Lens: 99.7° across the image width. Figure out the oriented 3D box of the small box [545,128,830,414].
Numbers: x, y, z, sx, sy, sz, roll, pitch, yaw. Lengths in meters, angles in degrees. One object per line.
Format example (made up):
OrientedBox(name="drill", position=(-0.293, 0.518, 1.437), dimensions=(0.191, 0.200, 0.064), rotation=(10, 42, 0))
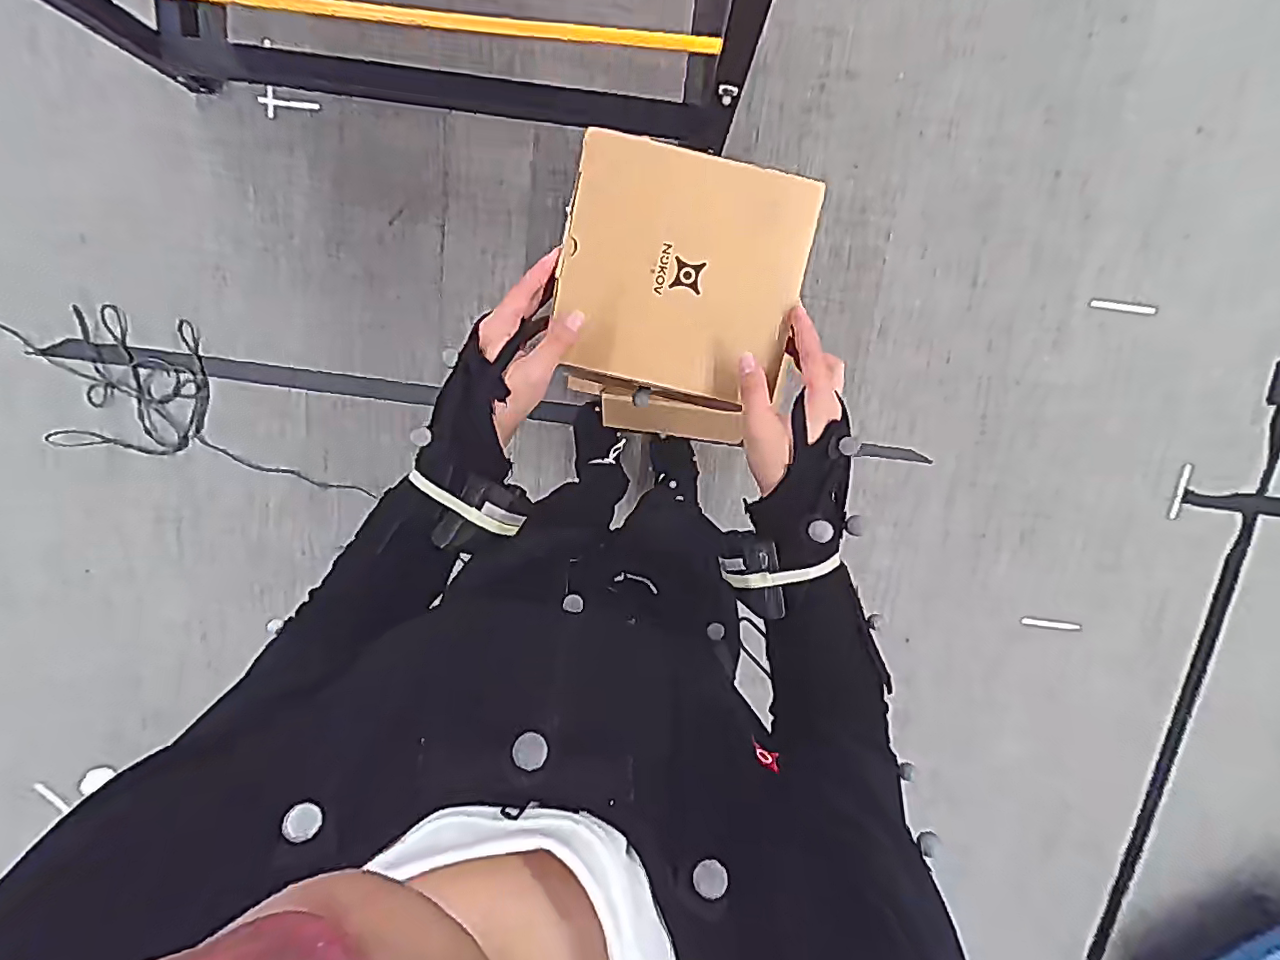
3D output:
OrientedBox(name="small box", position=(0.032, -0.158, 0.466), dimensions=(0.179, 0.176, 0.168), rotation=(12, 97, -2))
